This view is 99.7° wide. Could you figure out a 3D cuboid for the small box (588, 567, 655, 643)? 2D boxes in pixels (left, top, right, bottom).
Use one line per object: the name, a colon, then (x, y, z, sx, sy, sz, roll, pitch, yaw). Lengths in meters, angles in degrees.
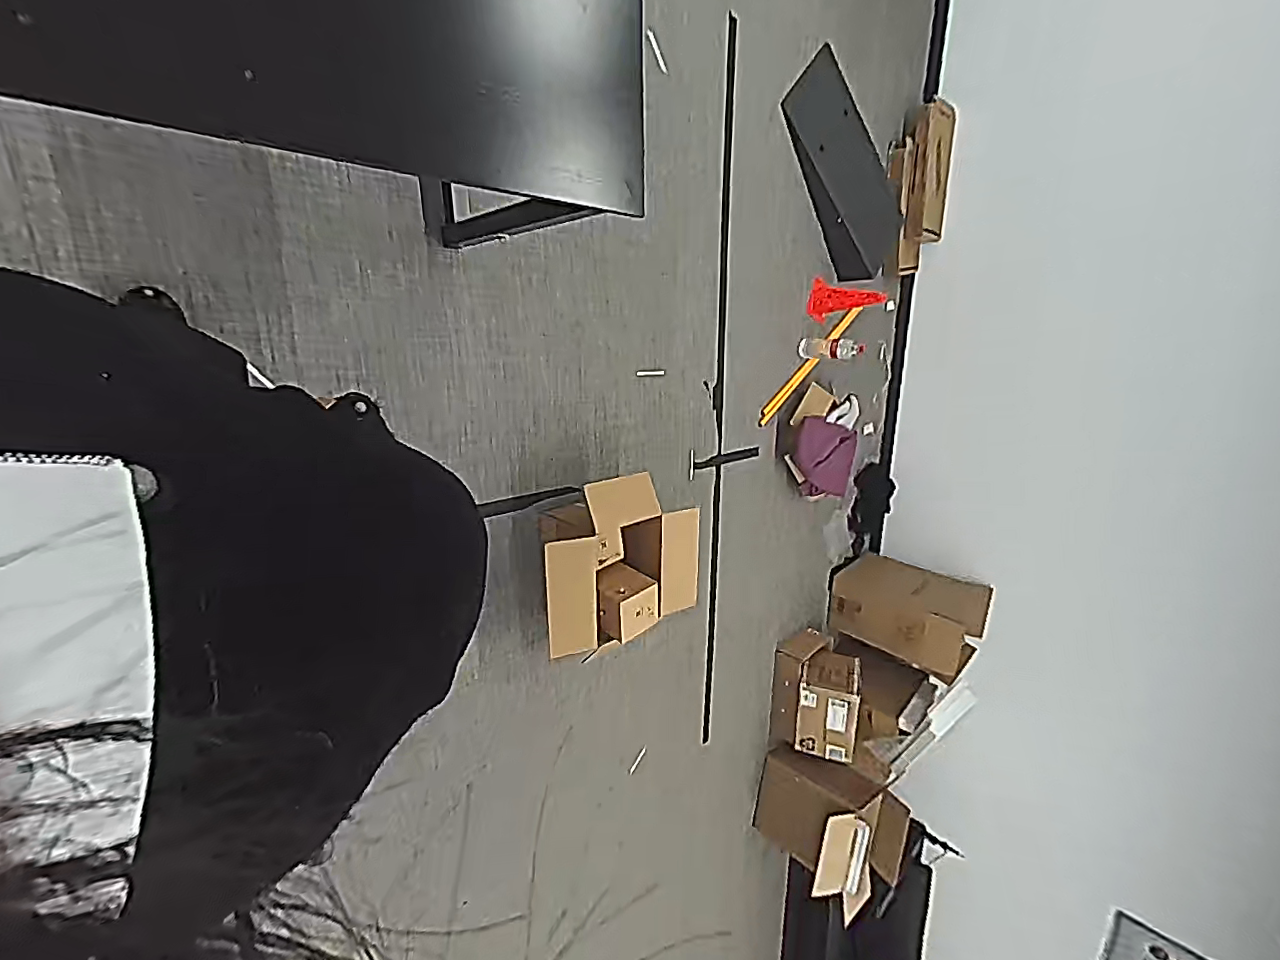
small box: (-0.069, 0.426, 1.873, 0.179, 0.176, 0.168, -21, 119, -40)
